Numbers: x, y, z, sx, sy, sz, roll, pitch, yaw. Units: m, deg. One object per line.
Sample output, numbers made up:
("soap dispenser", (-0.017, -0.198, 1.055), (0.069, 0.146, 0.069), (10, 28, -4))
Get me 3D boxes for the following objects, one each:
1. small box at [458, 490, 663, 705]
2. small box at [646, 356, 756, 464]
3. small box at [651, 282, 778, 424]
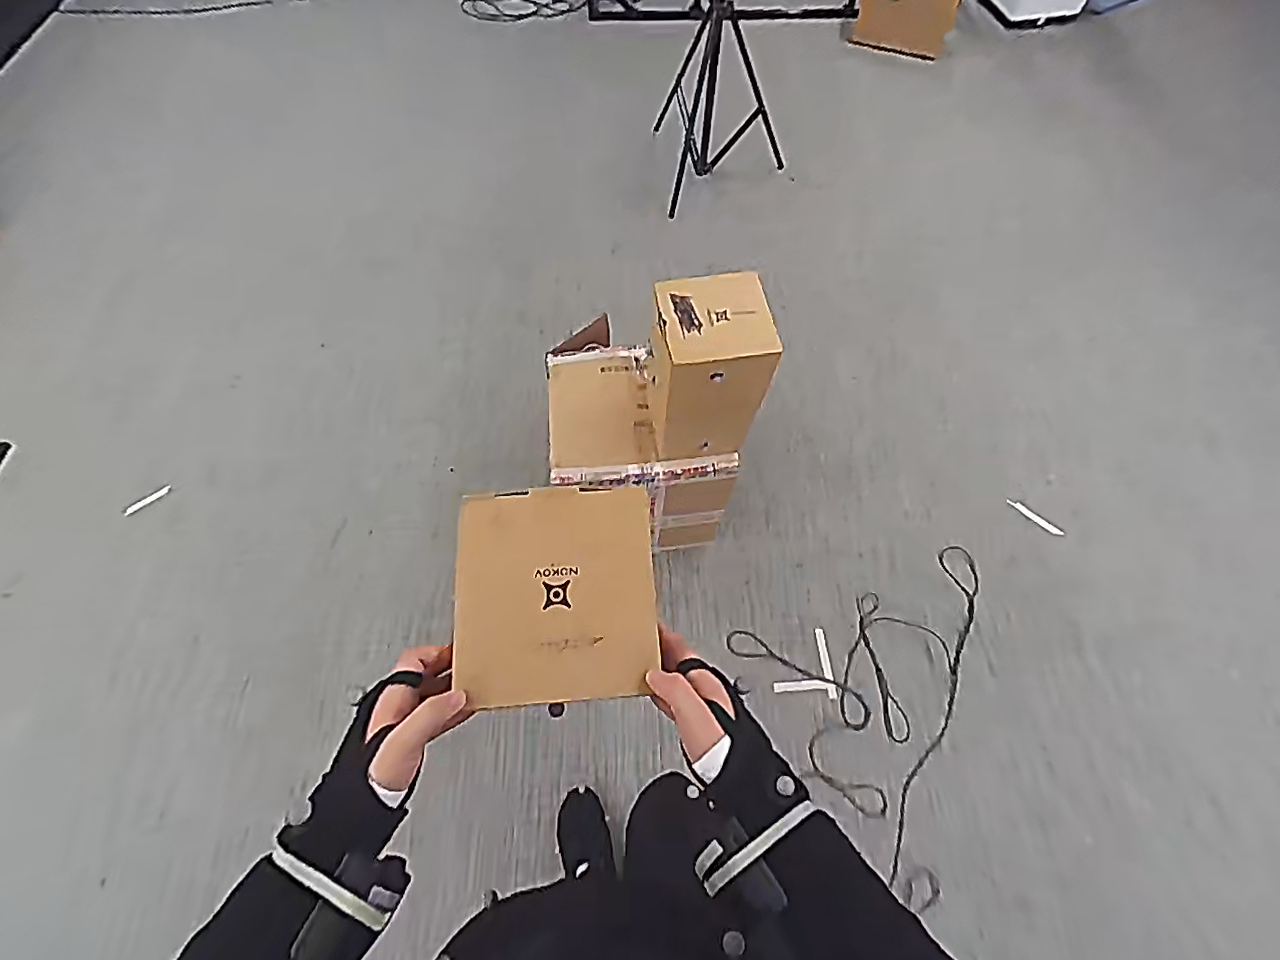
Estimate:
("small box", (-0.074, 0.121, 0.534), (0.168, 0.176, 0.179), (-3, 71, -5))
("small box", (0.112, -0.147, 1.083), (0.179, 0.176, 0.168), (-8, 66, -6))
("small box", (0.115, -0.210, 0.929), (0.179, 0.176, 0.168), (-8, 66, -6))
